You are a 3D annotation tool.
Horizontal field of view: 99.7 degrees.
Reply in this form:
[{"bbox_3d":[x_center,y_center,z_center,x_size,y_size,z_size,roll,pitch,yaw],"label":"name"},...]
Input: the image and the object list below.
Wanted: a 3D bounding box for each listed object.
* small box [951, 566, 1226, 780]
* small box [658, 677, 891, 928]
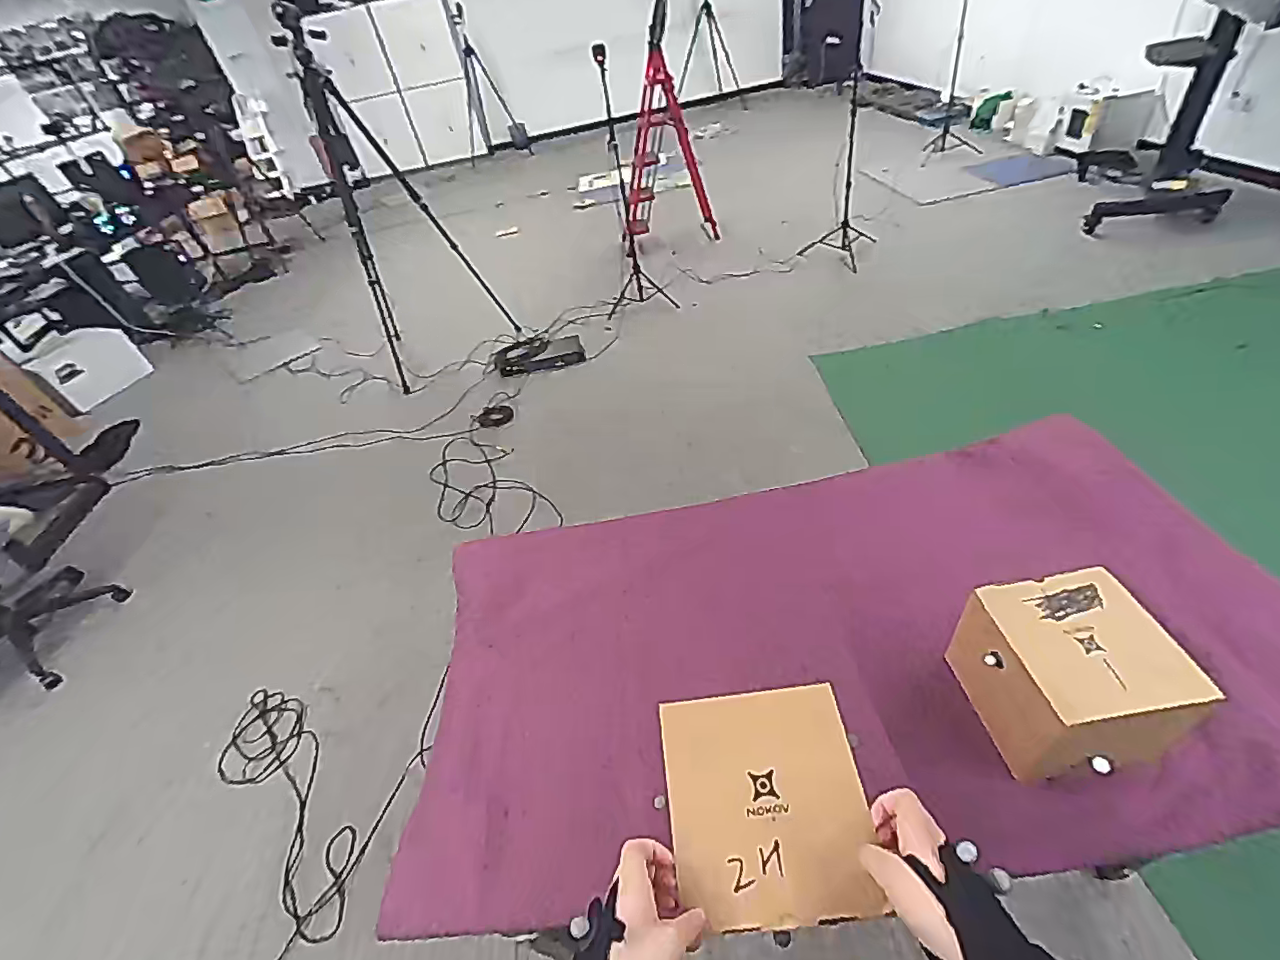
[{"bbox_3d":[0.515,0.235,0.661,0.168,0.176,0.179,-11,42,3],"label":"small box"},{"bbox_3d":[0.111,0.311,0.518,0.168,0.176,0.179,-9,52,4],"label":"small box"}]
